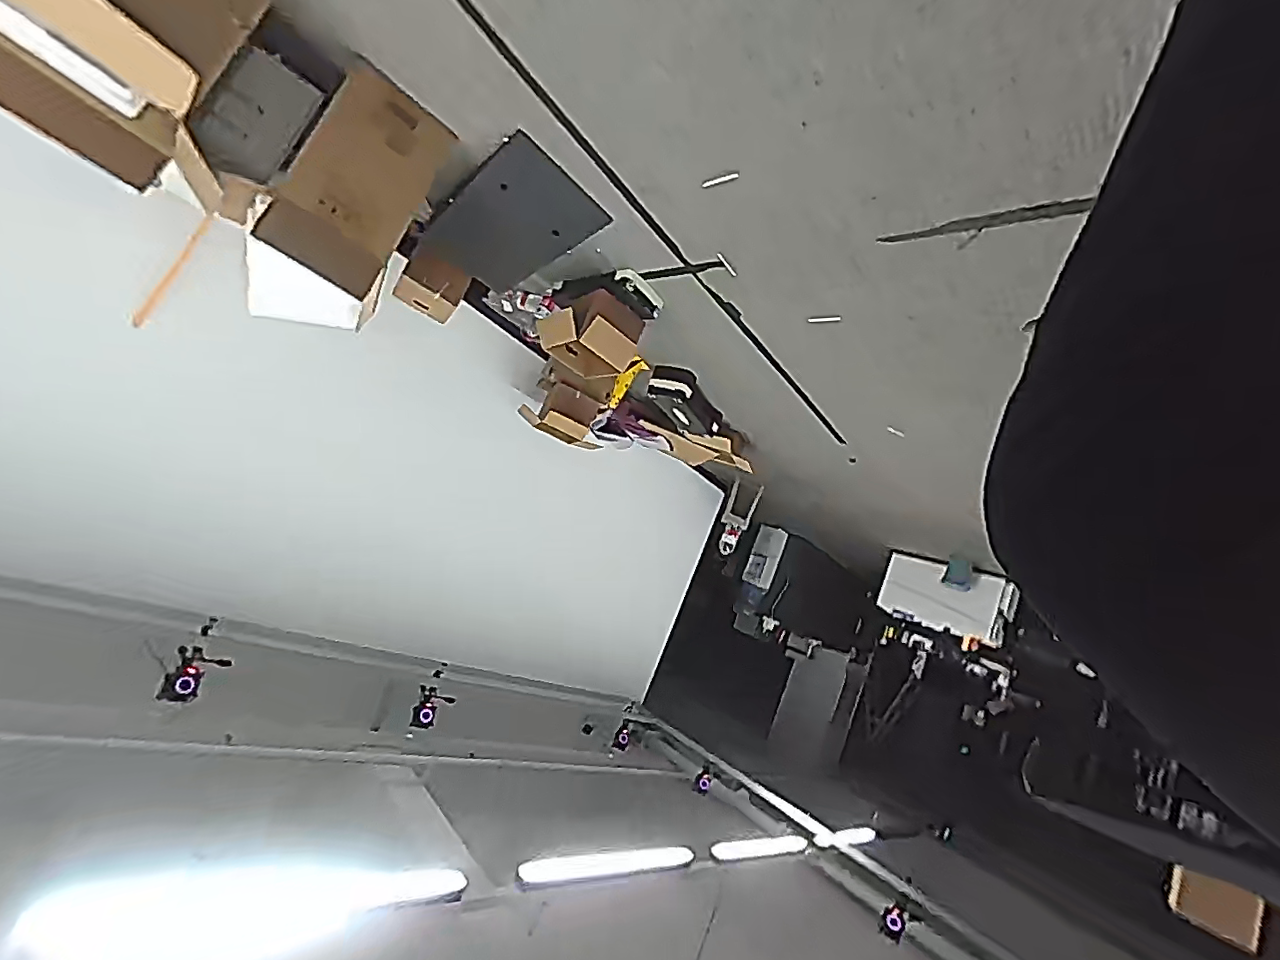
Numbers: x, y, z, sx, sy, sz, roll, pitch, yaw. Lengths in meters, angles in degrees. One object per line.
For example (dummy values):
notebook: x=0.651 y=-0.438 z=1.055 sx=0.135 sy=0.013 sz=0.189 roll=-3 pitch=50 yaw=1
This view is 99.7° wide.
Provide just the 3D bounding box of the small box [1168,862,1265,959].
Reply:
small box: x=1.708 y=1.275 z=1.606 sx=0.168 sy=0.176 sz=0.179 roll=13 pitch=165 yaw=43
